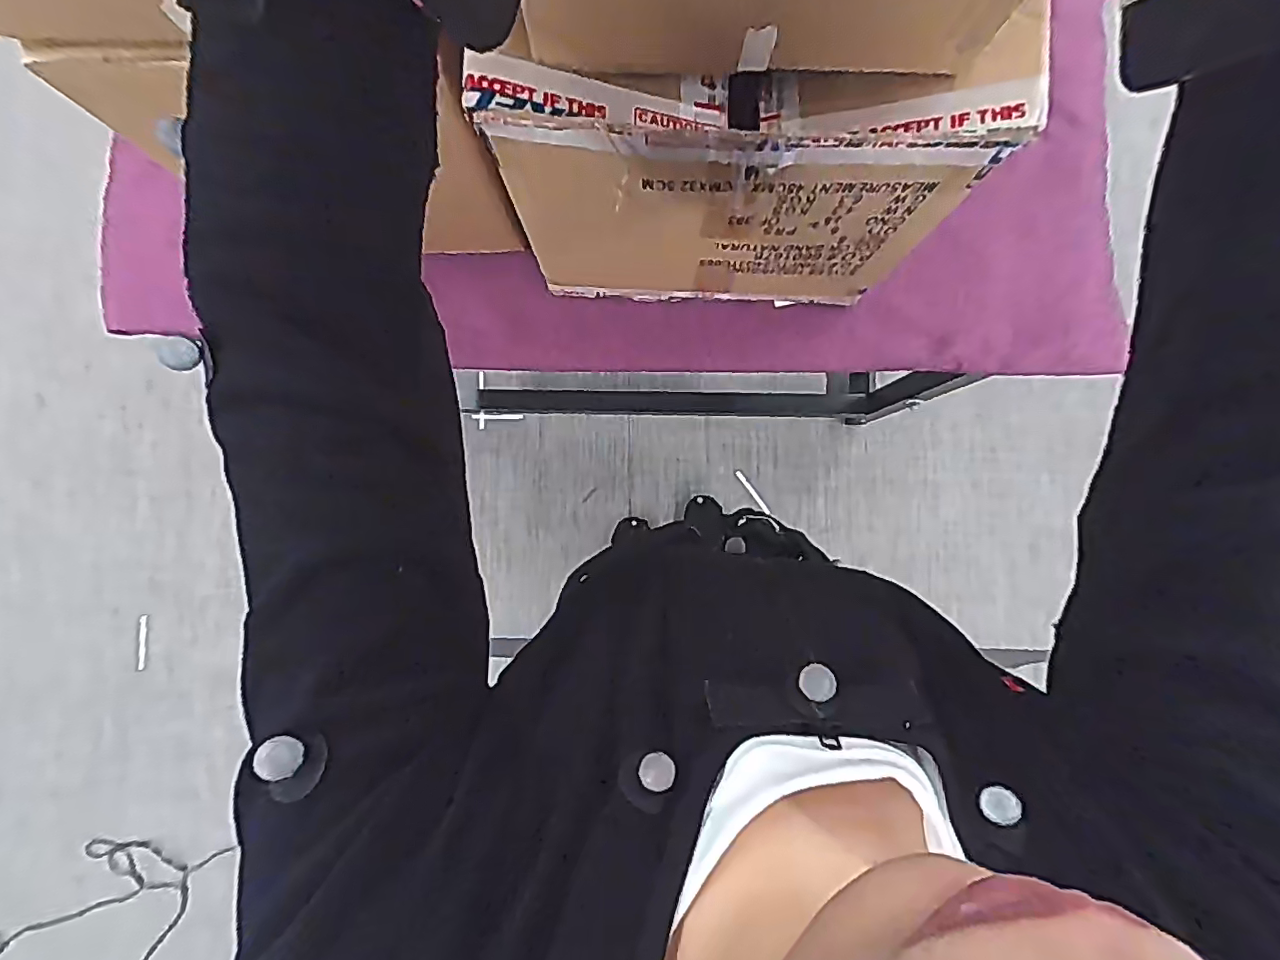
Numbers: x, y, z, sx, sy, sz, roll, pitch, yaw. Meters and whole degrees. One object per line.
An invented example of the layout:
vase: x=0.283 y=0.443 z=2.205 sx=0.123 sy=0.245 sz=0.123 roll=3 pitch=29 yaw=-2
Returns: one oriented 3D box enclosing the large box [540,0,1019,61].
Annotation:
large box: x=0.088 y=-0.498 z=0.237 sx=0.320 sy=0.320 sz=0.408 roll=0 pitch=88 yaw=1
